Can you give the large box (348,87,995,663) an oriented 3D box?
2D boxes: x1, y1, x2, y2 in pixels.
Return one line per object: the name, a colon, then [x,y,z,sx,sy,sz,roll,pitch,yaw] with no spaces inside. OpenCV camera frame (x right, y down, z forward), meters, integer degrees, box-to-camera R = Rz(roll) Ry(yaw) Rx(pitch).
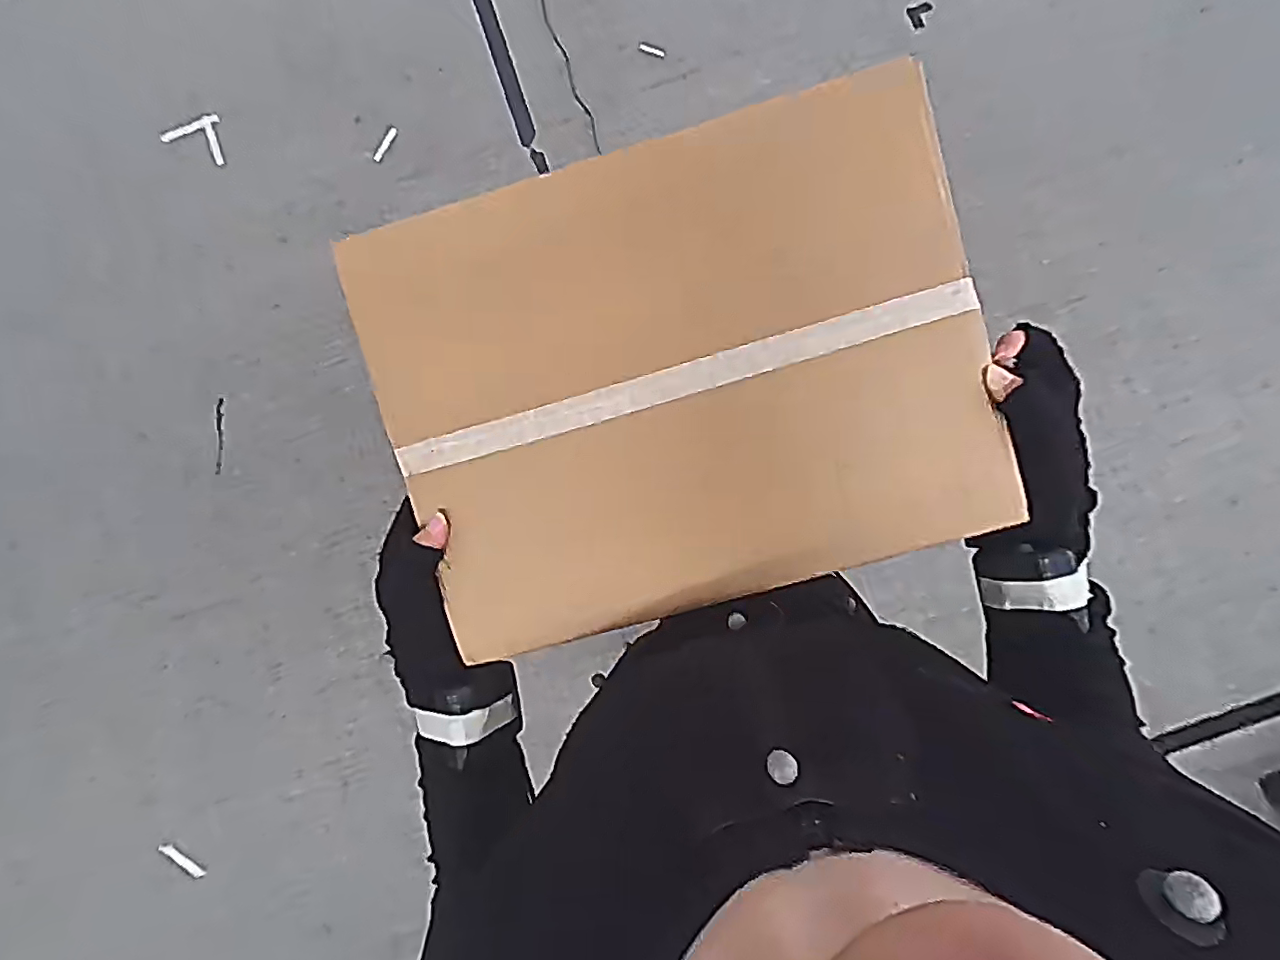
large box: [0.029,-0.076,0.531,0.408,0.320,0.320,-16,93,4]
